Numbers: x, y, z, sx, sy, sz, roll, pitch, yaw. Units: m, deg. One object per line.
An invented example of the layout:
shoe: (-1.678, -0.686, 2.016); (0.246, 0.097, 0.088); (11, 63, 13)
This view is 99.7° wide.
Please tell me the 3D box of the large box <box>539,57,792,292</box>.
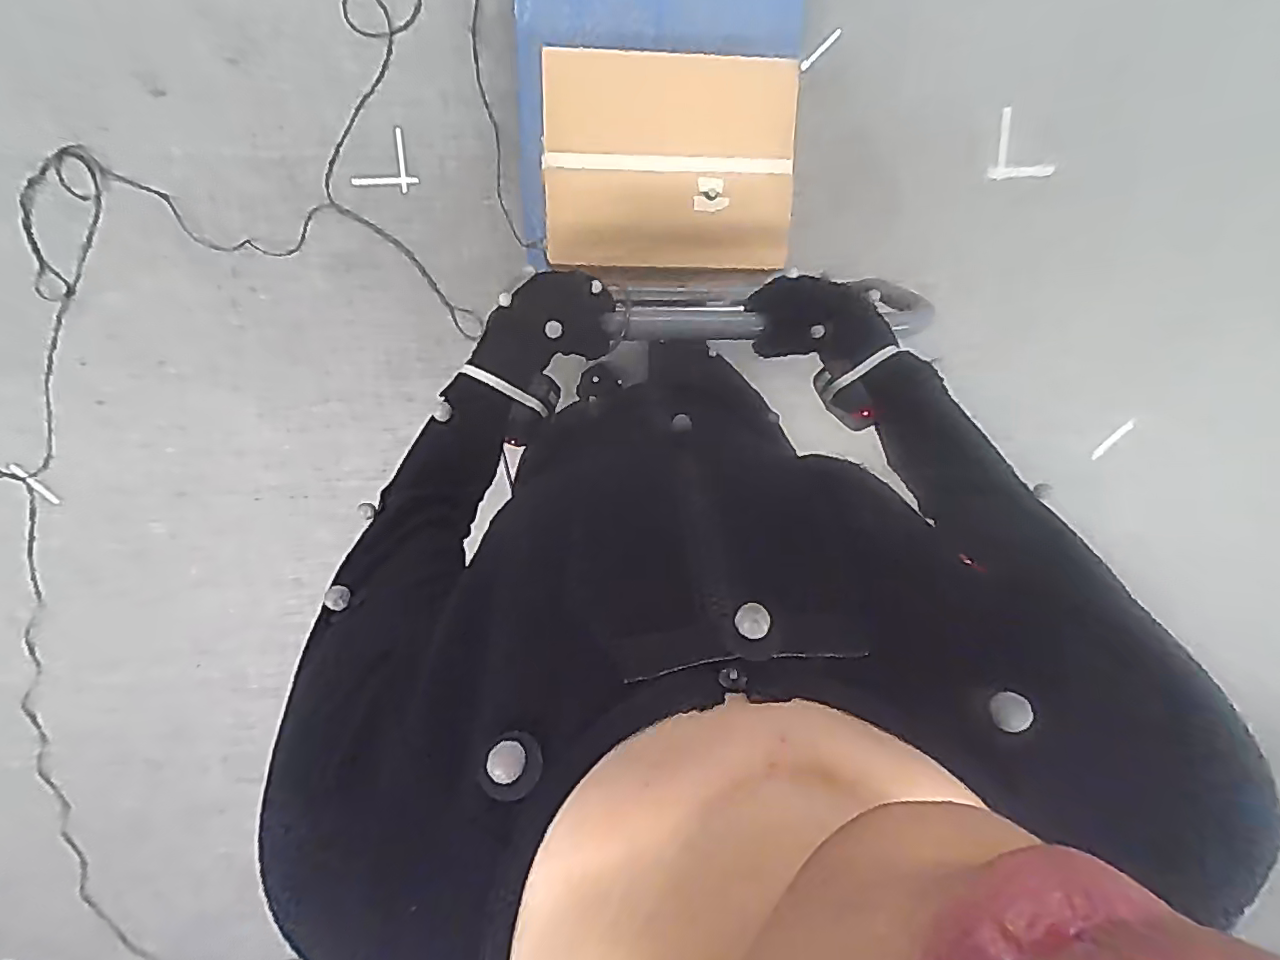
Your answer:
large box: (0.031, -0.534, 1.017); (0.408, 0.320, 0.320); (-1, 104, -5)
